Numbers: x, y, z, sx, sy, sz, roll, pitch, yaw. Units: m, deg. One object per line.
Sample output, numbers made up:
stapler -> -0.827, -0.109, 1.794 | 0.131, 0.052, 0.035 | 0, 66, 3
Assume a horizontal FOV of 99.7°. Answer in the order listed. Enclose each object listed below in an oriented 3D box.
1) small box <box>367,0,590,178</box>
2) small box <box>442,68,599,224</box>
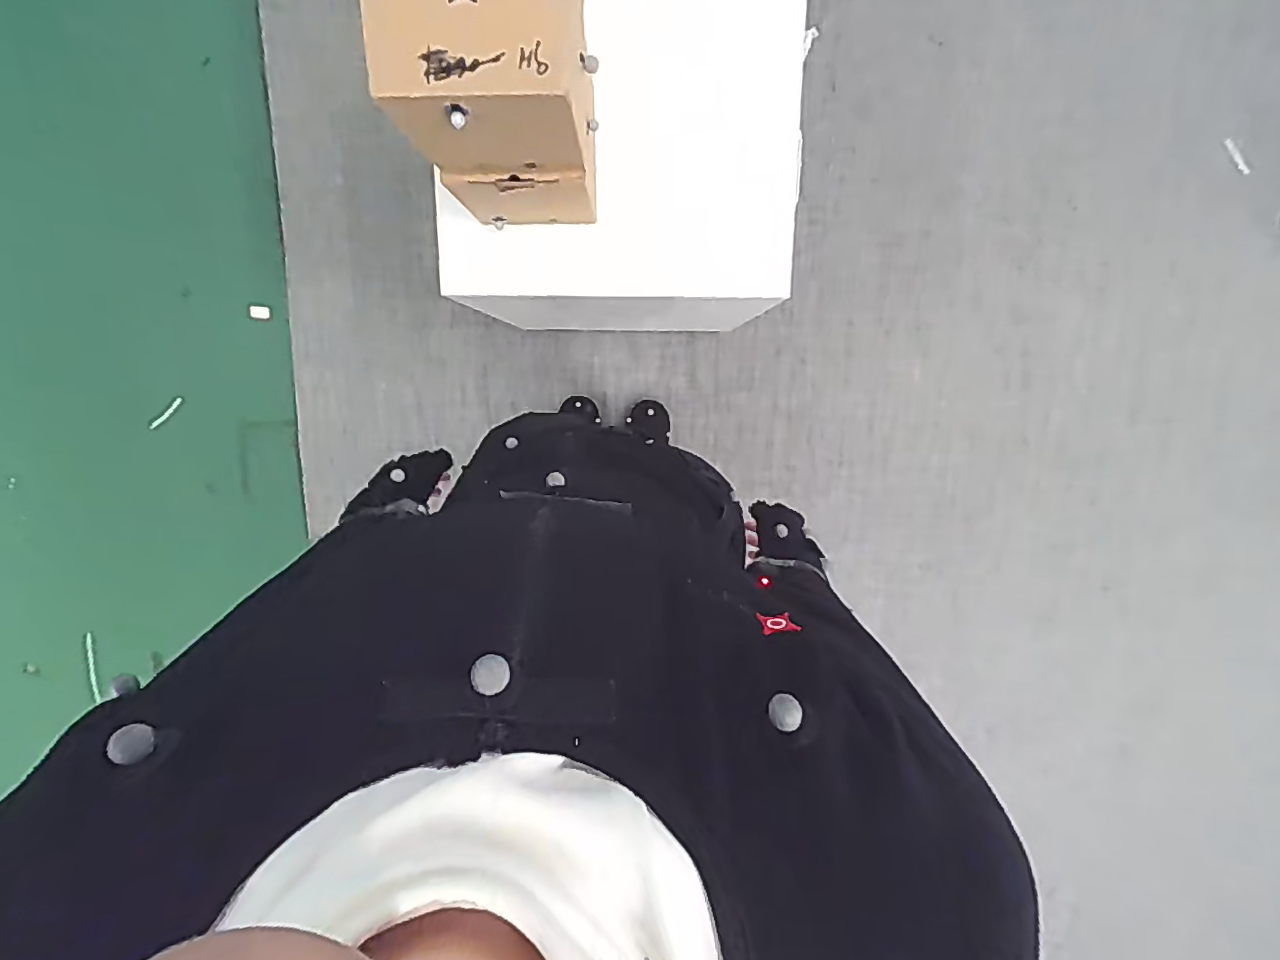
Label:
small box -> -0.139, -0.415, 0.516 | 0.168, 0.176, 0.179 | 0, 99, 1
small box -> -0.141, -0.433, 0.678 | 0.168, 0.176, 0.179 | 0, 99, 0
